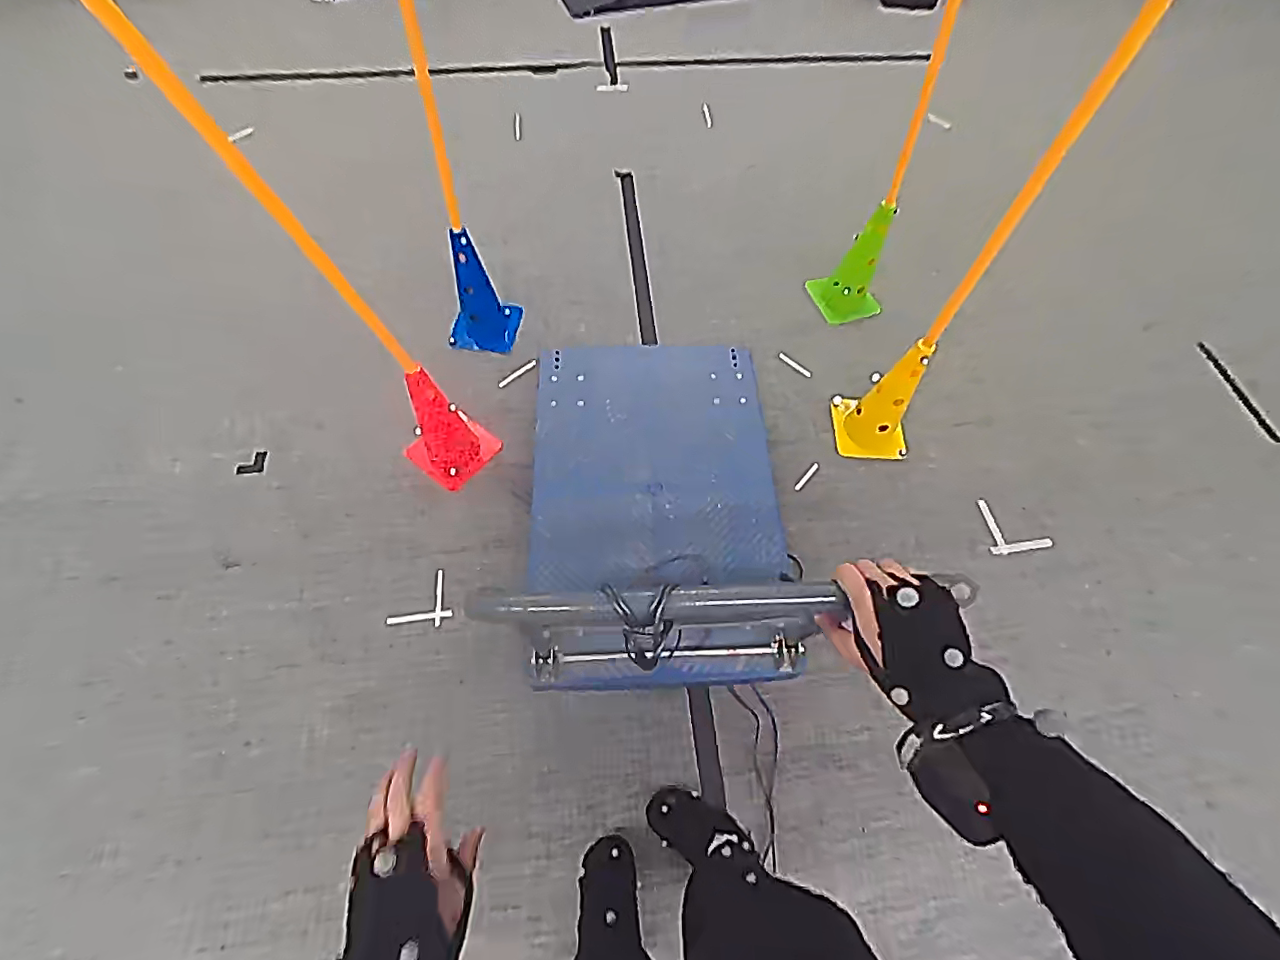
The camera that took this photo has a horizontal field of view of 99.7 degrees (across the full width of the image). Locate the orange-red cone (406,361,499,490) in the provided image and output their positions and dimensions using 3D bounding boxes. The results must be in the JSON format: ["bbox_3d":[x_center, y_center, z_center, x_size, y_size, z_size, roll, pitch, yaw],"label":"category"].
[{"bbox_3d":[-0.508,-0.165,1.345,0.198,0.360,0.199,36,65,15],"label":"orange-red cone"}]

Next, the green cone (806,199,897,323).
[{"bbox_3d":[0.688,-0.695,1.670,0.200,0.368,0.202,-17,65,-11],"label":"green cone"}]

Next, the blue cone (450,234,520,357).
[{"bbox_3d":[-0.480,-0.549,1.565,0.193,0.380,0.192,8,63,2],"label":"blue cone"}]
